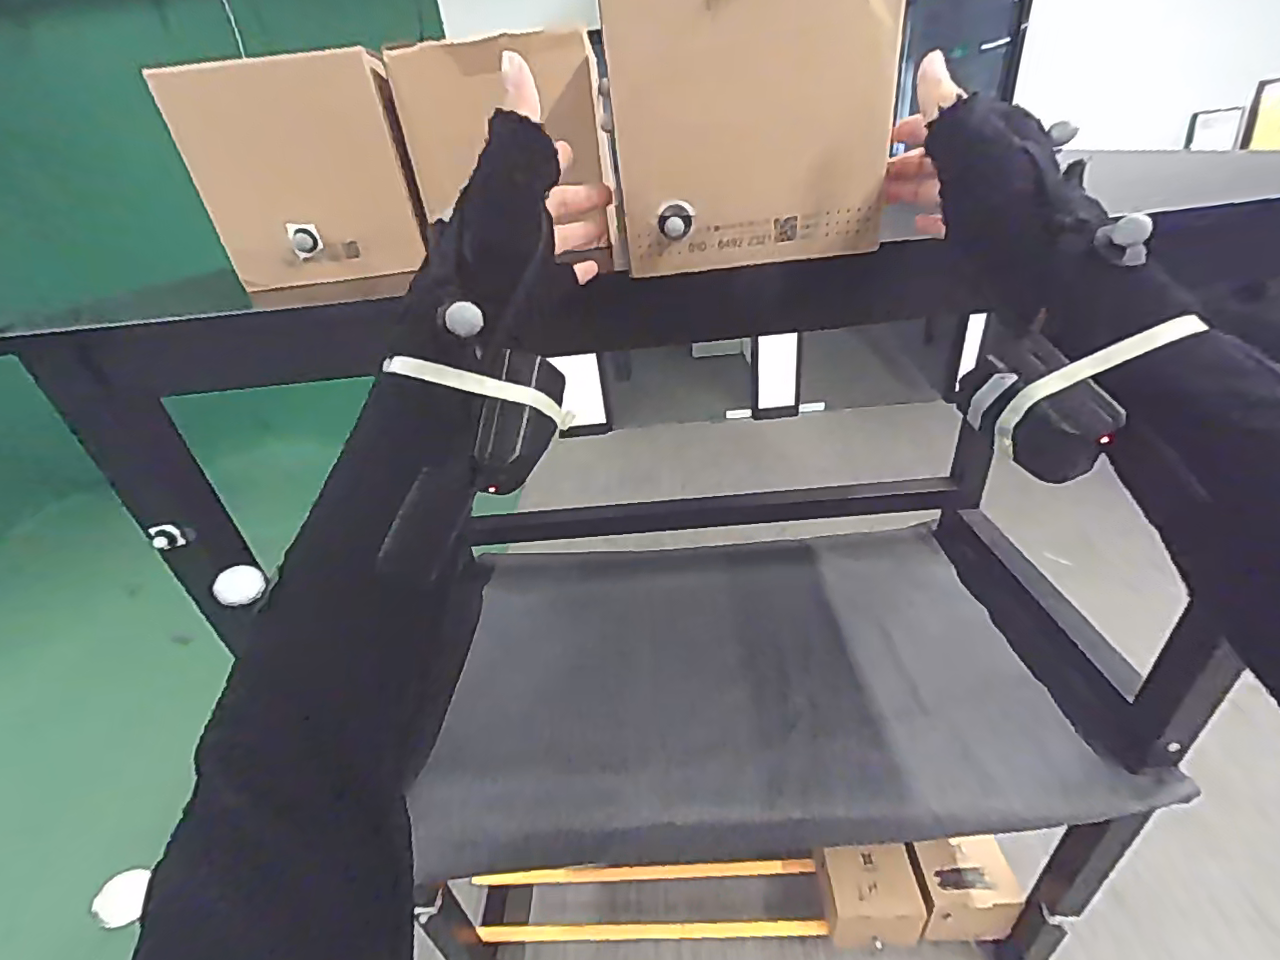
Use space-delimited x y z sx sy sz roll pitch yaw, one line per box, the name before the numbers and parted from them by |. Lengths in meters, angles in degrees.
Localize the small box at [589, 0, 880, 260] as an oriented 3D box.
small box | 0.064 -0.263 0.394 0.168 0.176 0.179 -4 30 5
